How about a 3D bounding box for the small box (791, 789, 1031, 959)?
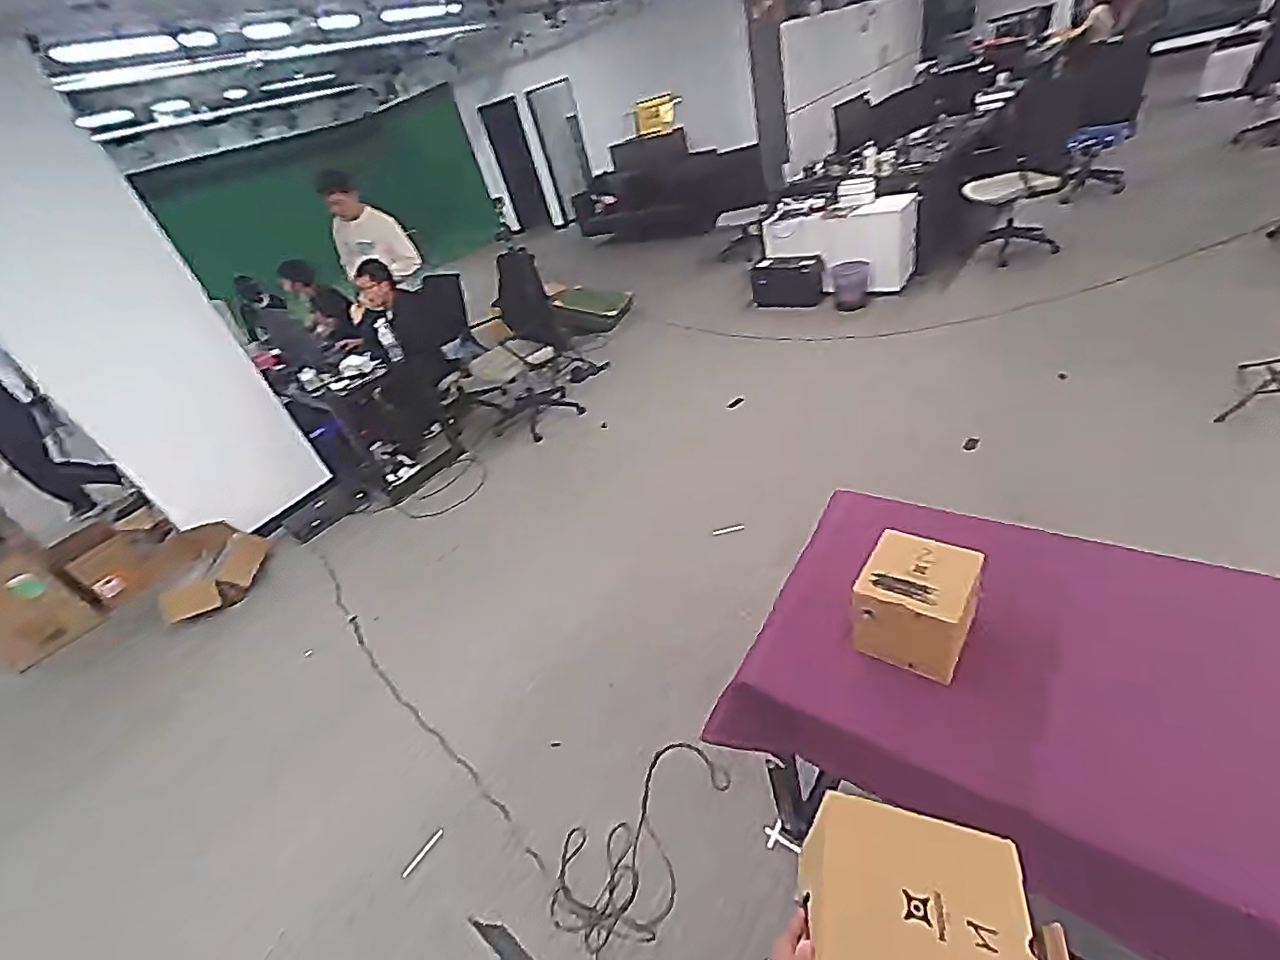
[{"bbox_3d":[0.247,0.444,0.526,0.179,0.176,0.168,10,39,14],"label":"small box"}]
